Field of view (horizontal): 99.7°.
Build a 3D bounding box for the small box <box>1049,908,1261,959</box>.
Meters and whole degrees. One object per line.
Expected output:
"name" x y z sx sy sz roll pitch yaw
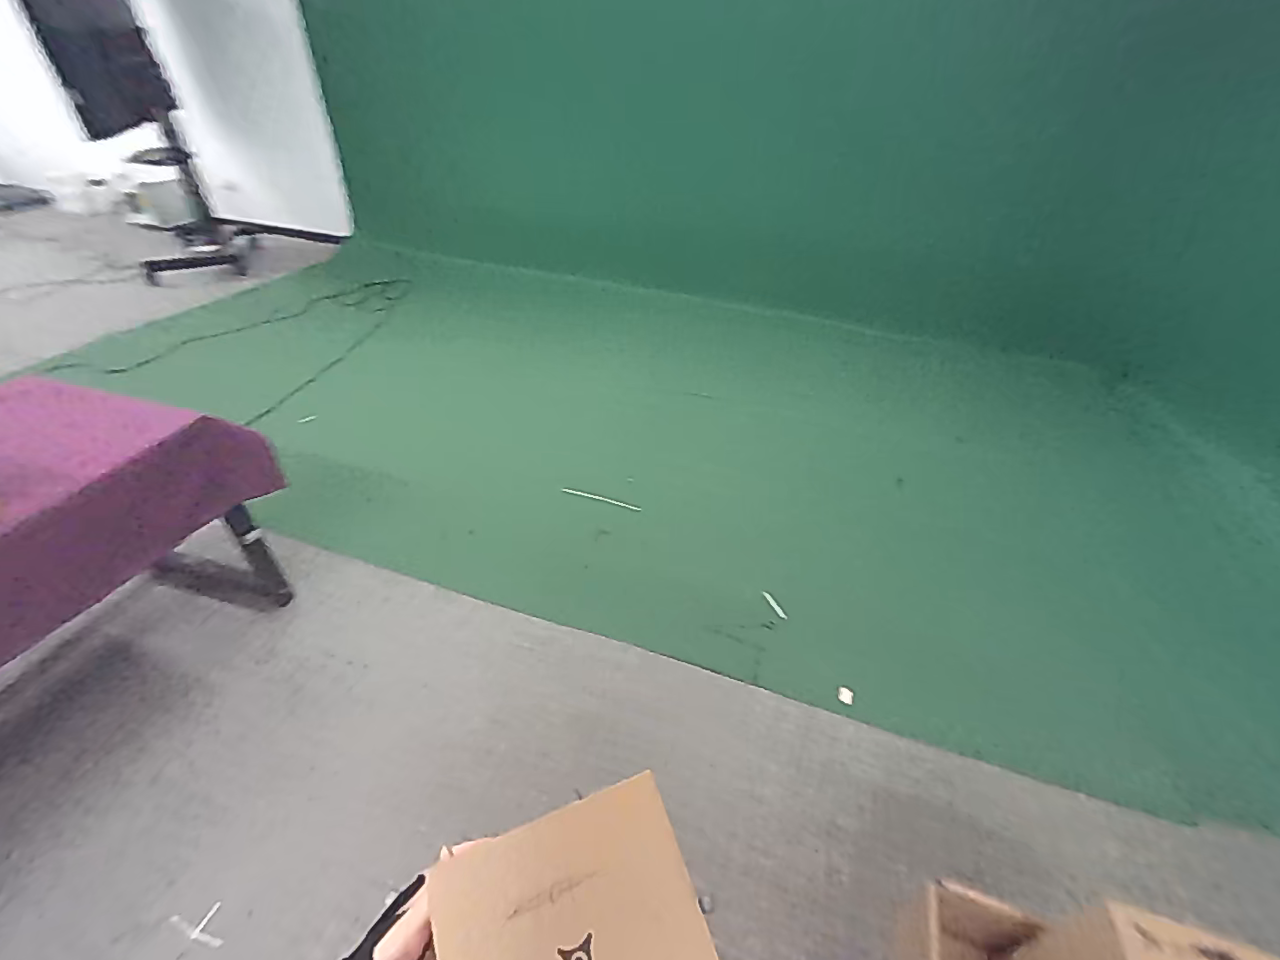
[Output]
"small box" 0.573 0.604 0.565 0.168 0.176 0.179 14 40 14
